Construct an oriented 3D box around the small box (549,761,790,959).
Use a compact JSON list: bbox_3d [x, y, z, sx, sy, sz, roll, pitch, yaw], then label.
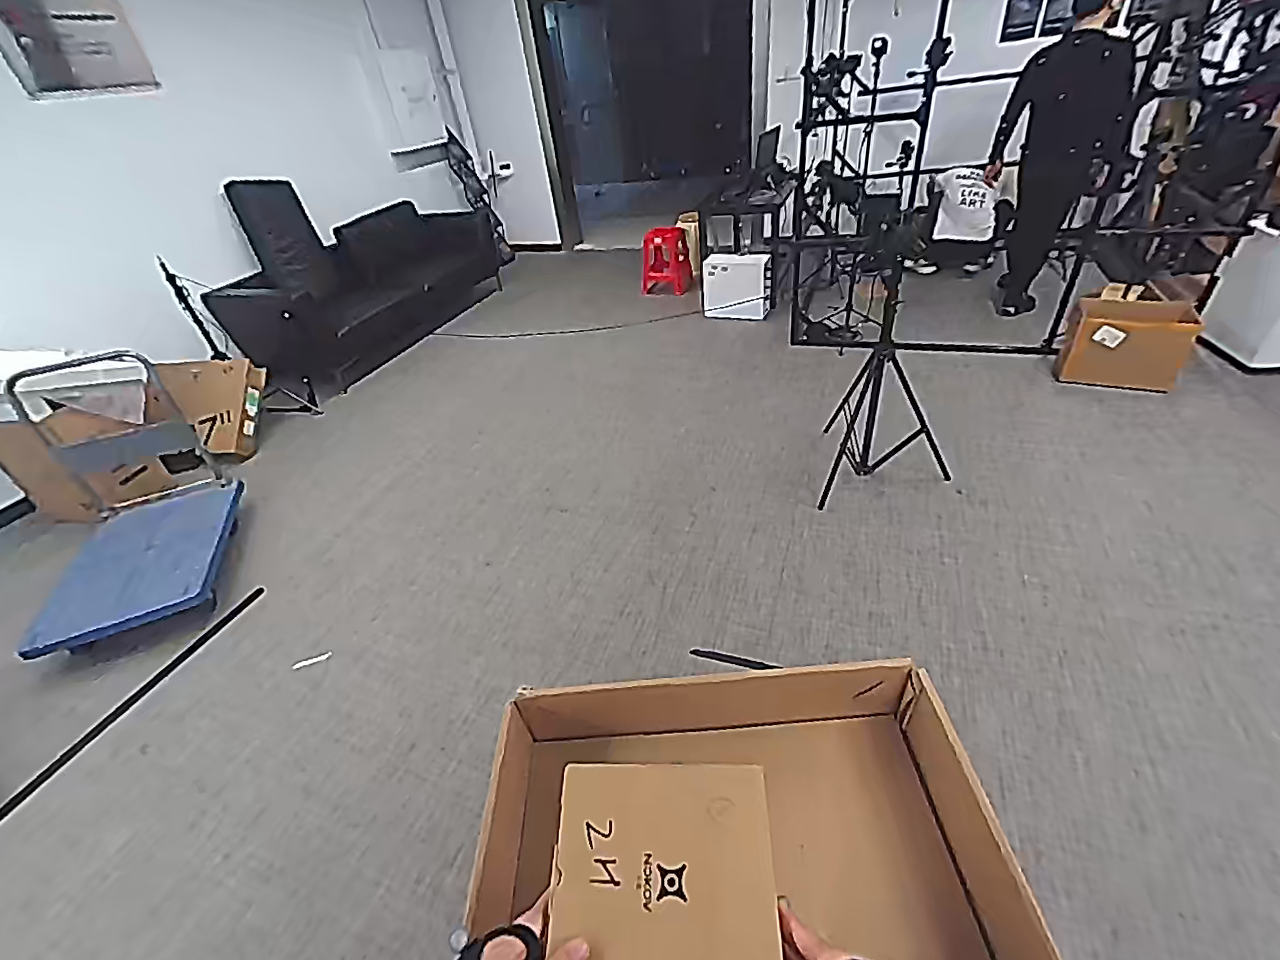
[{"bbox_3d":[0.030,0.361,0.476,0.179,0.176,0.168,-4,47,7],"label":"small box"}]
